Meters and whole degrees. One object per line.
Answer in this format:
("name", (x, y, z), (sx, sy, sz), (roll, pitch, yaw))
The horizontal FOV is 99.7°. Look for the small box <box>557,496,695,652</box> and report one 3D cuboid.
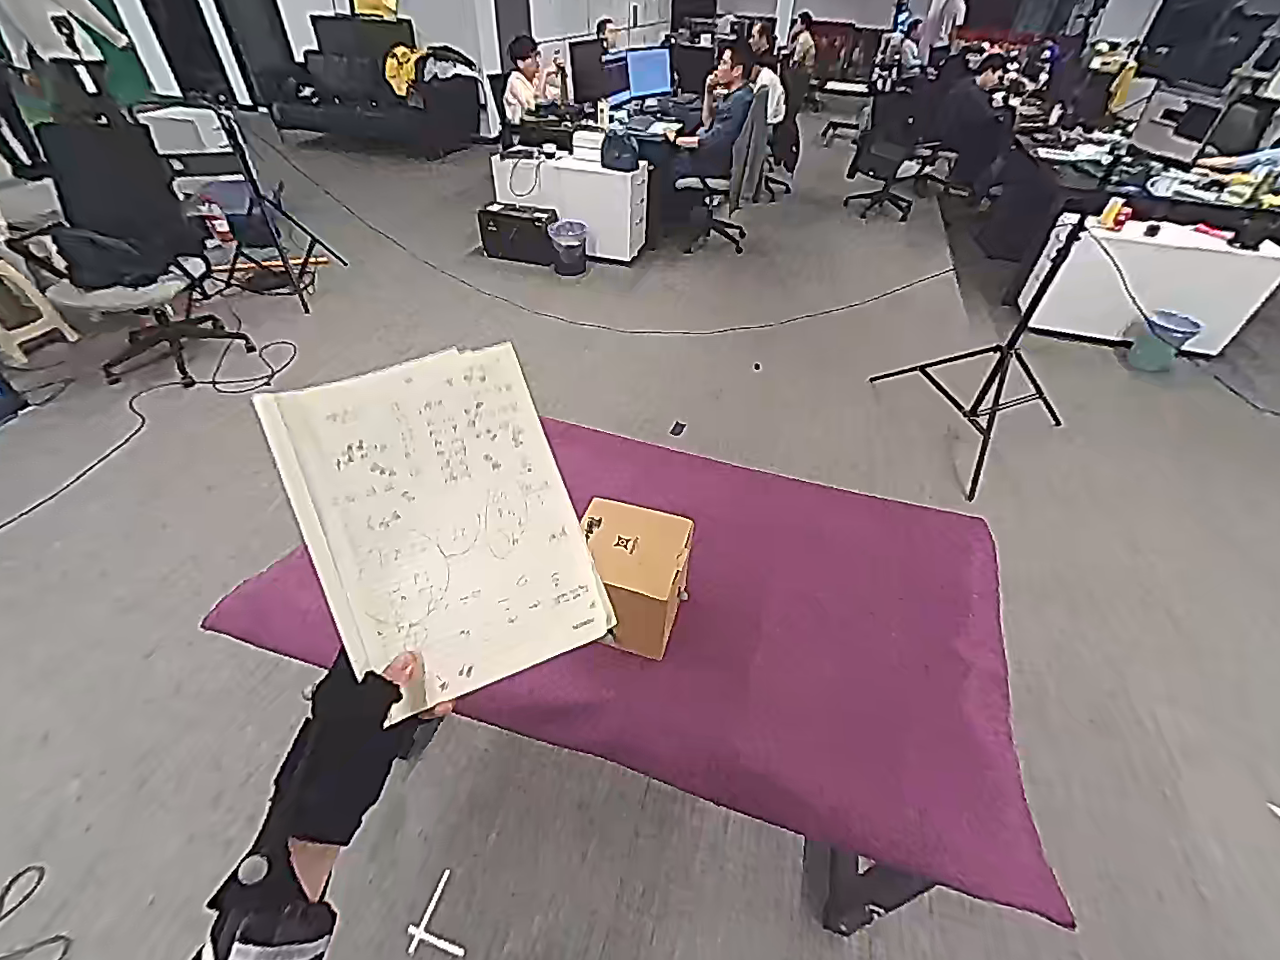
("small box", (-0.020, 0.156, 0.886), (0.179, 0.176, 0.168), (14, 43, 11))
